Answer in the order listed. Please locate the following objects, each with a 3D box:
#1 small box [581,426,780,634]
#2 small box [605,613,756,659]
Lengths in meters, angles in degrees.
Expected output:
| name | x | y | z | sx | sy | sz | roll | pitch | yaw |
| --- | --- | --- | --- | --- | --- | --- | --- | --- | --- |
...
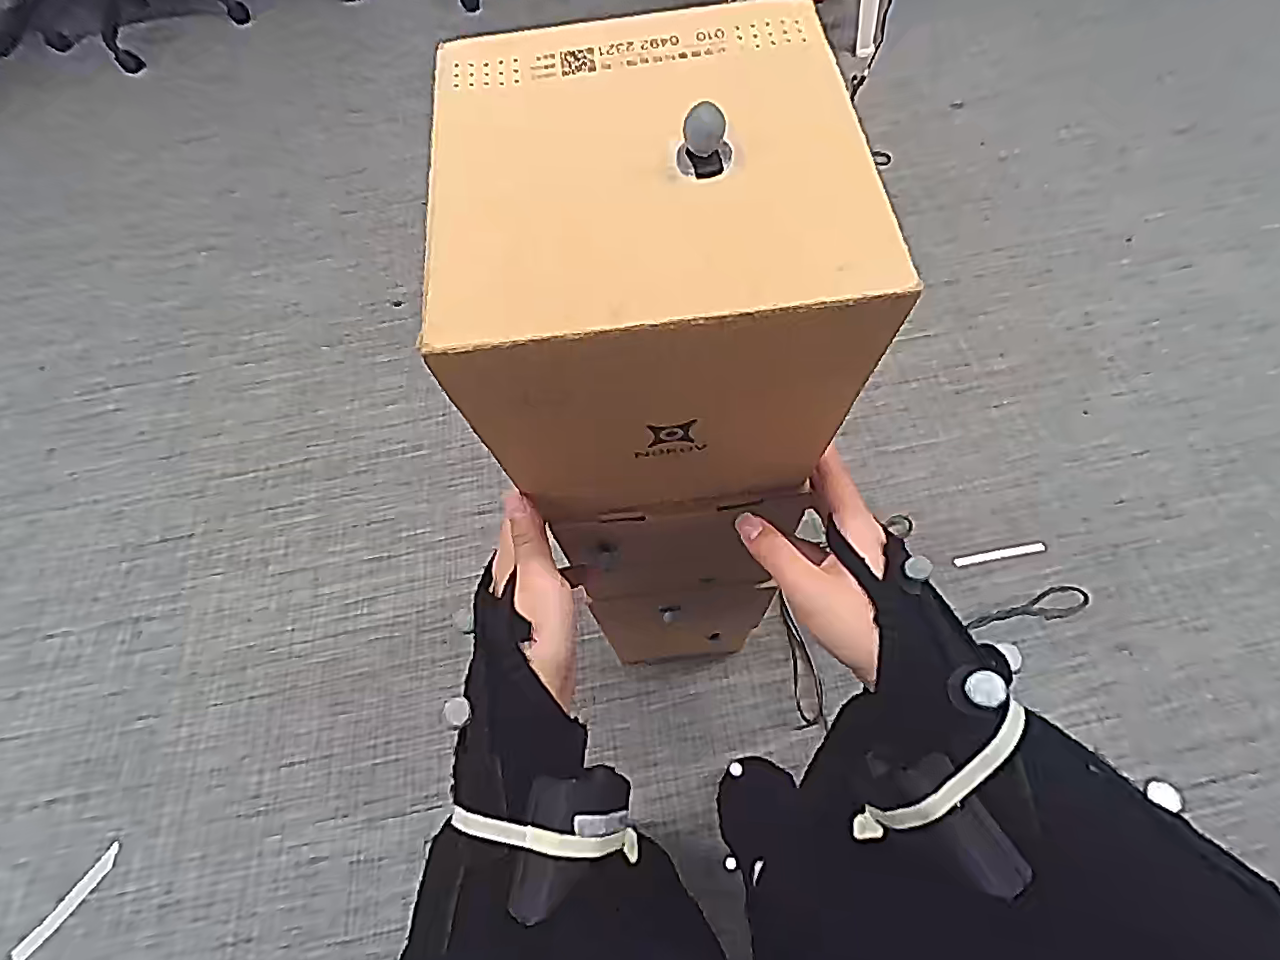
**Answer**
| name | x | y | z | sx | sy | sz | roll | pitch | yaw |
| --- | --- | --- | --- | --- | --- | --- | --- | --- | --- |
| small box | 0.037 | 0.062 | 0.579 | 0.179 | 0.176 | 0.168 | -5 | 62 | 1 |
| small box | 0.045 | 0.136 | 0.725 | 0.179 | 0.176 | 0.168 | -6 | 61 | 1 |
